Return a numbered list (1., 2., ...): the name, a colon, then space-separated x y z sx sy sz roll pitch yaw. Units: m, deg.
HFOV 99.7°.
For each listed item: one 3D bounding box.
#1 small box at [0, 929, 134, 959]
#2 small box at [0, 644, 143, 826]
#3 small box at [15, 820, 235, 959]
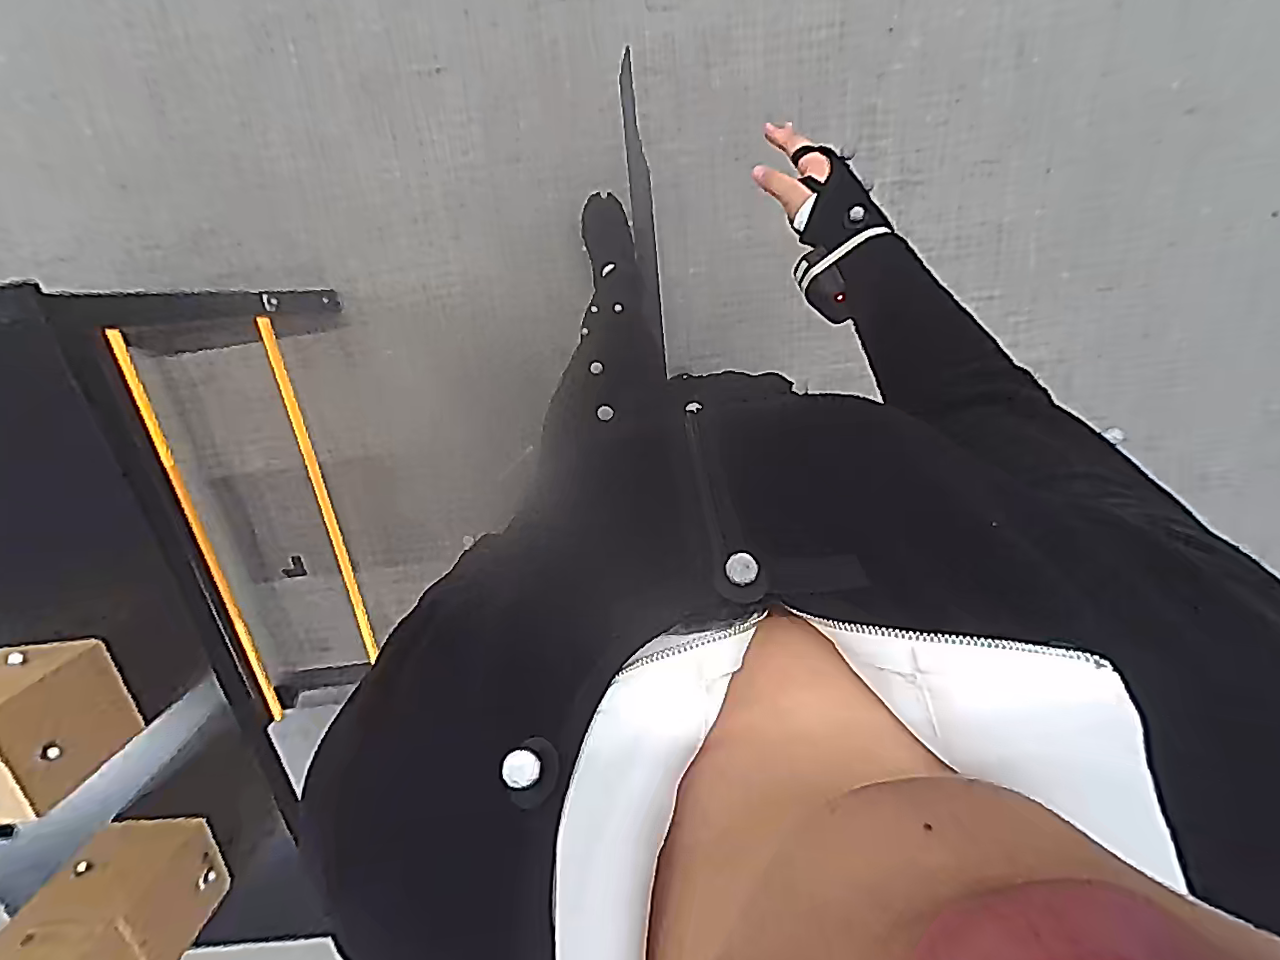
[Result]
1. small box: -0.843 0.762 0.746 0.168 0.176 0.179 -4 110 2
2. small box: -0.889 0.364 0.782 0.168 0.176 0.179 -6 108 2
3. small box: -0.837 0.702 0.900 0.179 0.176 0.168 -4 110 1
